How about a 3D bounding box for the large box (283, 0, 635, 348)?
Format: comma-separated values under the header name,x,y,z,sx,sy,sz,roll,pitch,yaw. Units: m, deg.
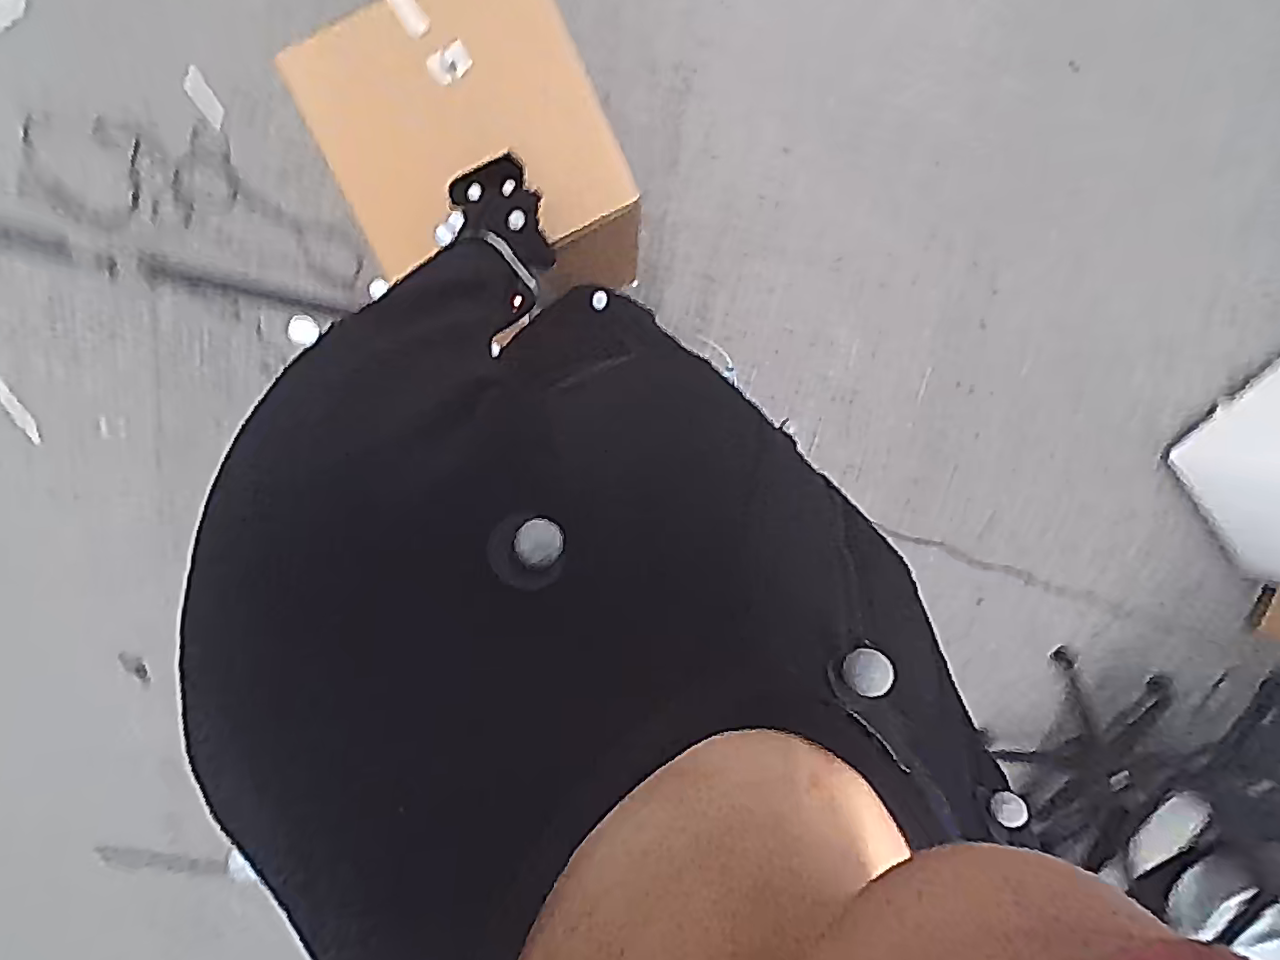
name,x,y,z,sx,sy,sz,roll,pitch,yaw
large box,-0.215,-0.423,0.823,0.320,0.408,0.320,-25,98,4
